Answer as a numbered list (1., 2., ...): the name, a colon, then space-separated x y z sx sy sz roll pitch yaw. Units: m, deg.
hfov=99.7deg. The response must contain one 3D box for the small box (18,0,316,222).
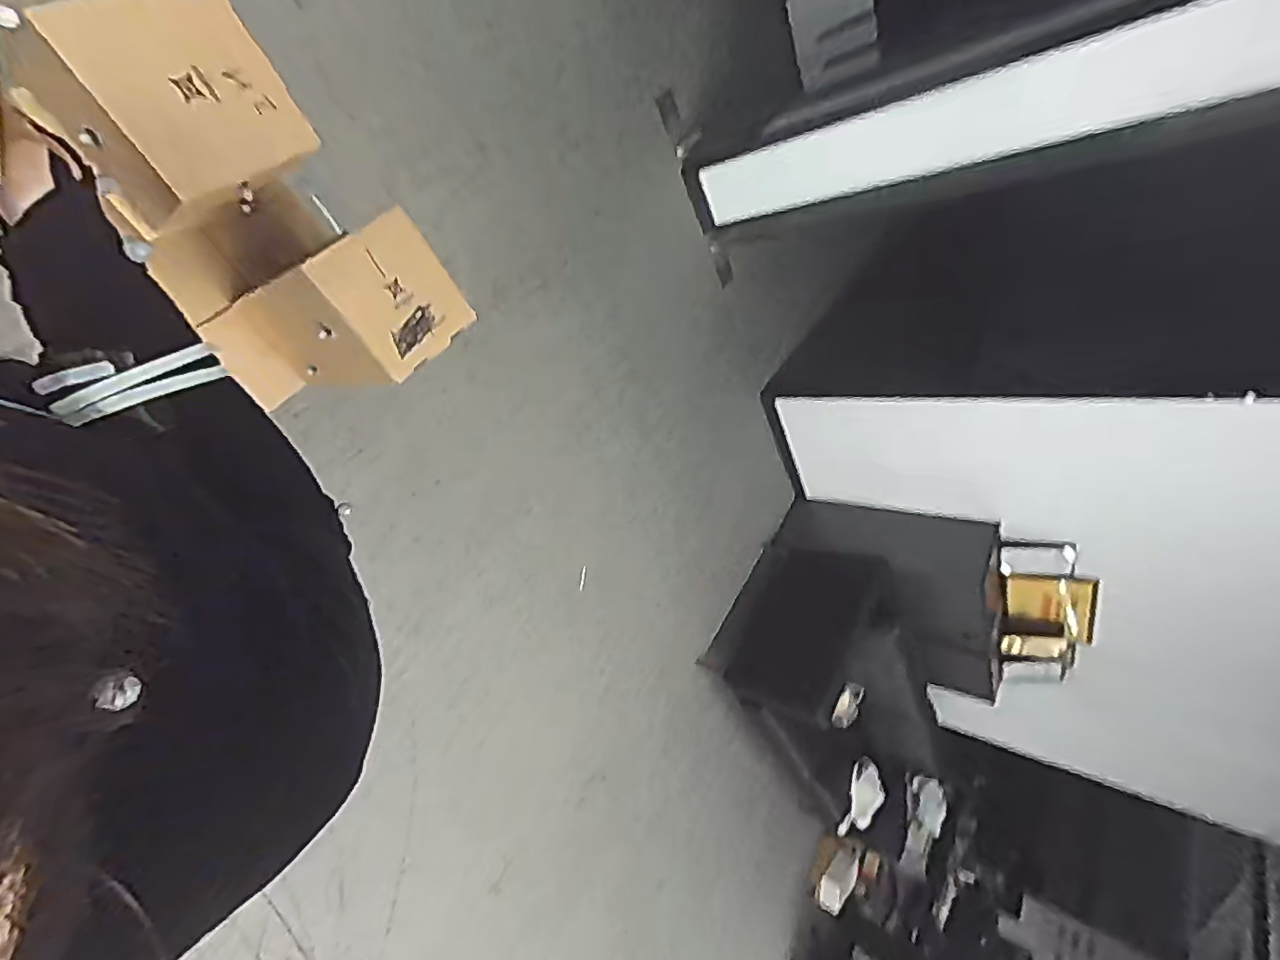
1. small box: -0.519 -0.413 0.605 0.179 0.176 0.168 -50 132 -31

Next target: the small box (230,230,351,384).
1. small box: -0.516 -0.275 0.887 0.168 0.176 0.179 -54 131 -29

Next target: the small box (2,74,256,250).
1. small box: -0.650 -0.423 0.705 0.179 0.176 0.168 -52 132 -30

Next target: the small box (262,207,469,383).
1. small box: -0.393 -0.257 0.781 0.168 0.176 0.179 -53 130 -30
